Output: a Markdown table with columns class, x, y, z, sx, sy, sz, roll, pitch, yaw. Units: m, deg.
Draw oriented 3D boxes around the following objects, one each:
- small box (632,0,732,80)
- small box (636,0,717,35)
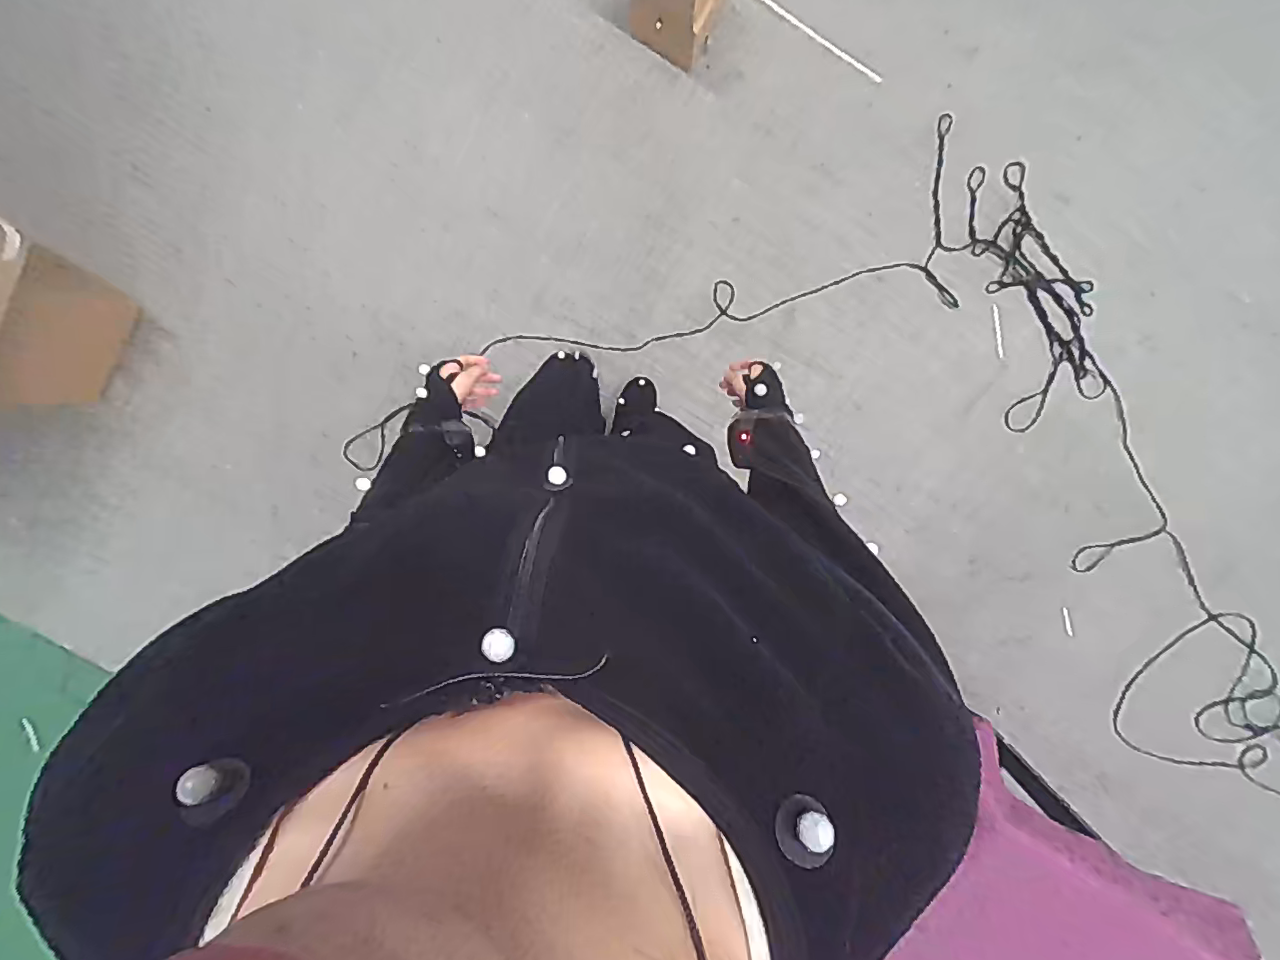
| class | x | y | z | sx | sy | sz | roll | pitch | yaw |
| --- | --- | --- | --- | --- | --- | --- | --- | --- | --- |
| small box | 0.095 | -1.073 | 1.239 | 0.179 | 0.176 | 0.168 | 31 | 99 | -4 |
| small box | 0.083 | -1.050 | 1.076 | 0.179 | 0.176 | 0.168 | 31 | 100 | -4 |
